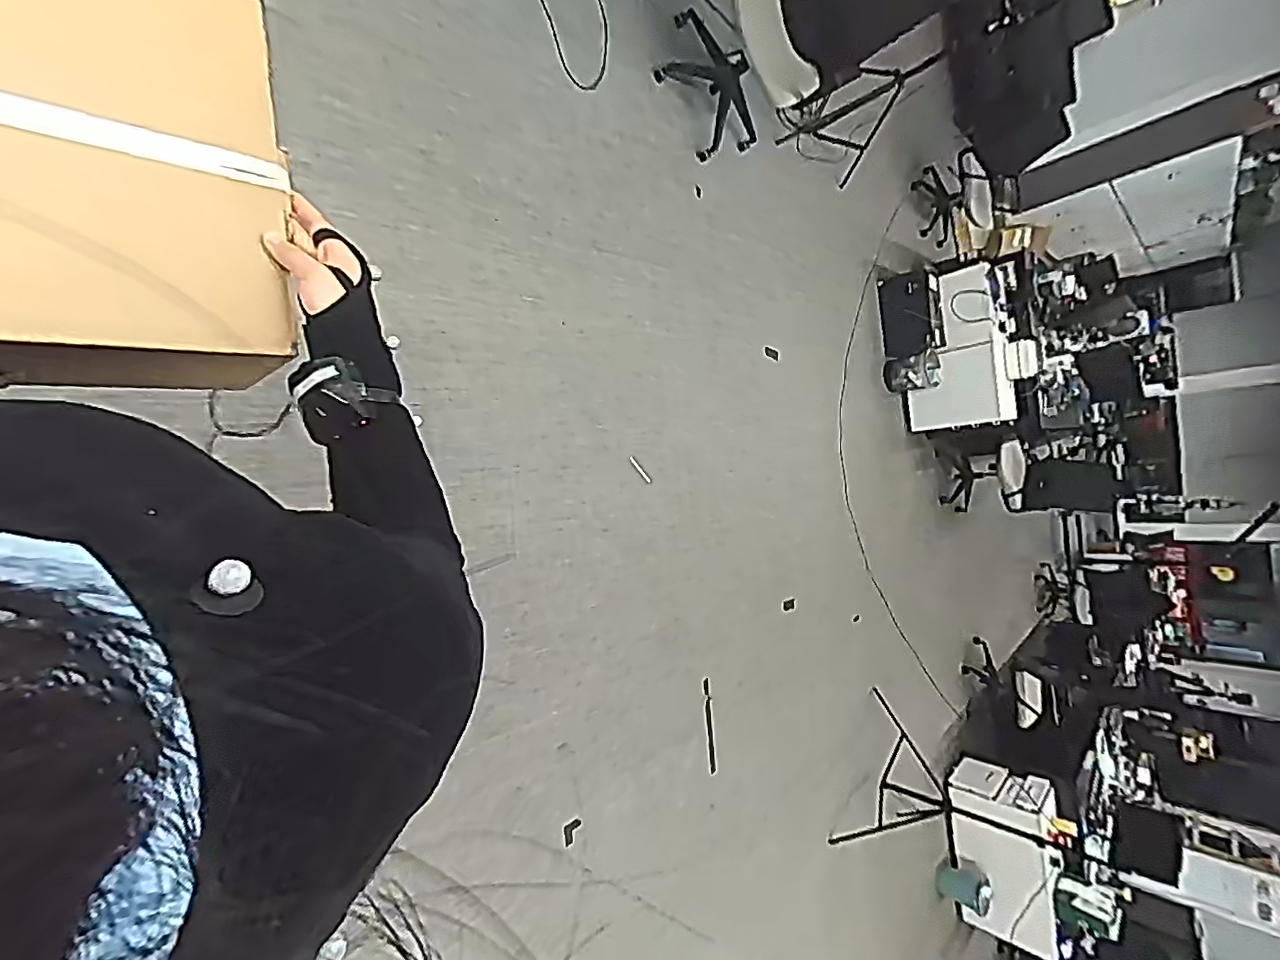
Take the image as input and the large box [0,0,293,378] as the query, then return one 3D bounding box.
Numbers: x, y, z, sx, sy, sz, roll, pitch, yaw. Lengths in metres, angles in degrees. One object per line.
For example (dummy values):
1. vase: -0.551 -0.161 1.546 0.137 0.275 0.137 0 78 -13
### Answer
1. large box: -0.581 -0.260 0.470 0.408 0.320 0.320 -8 95 -43
